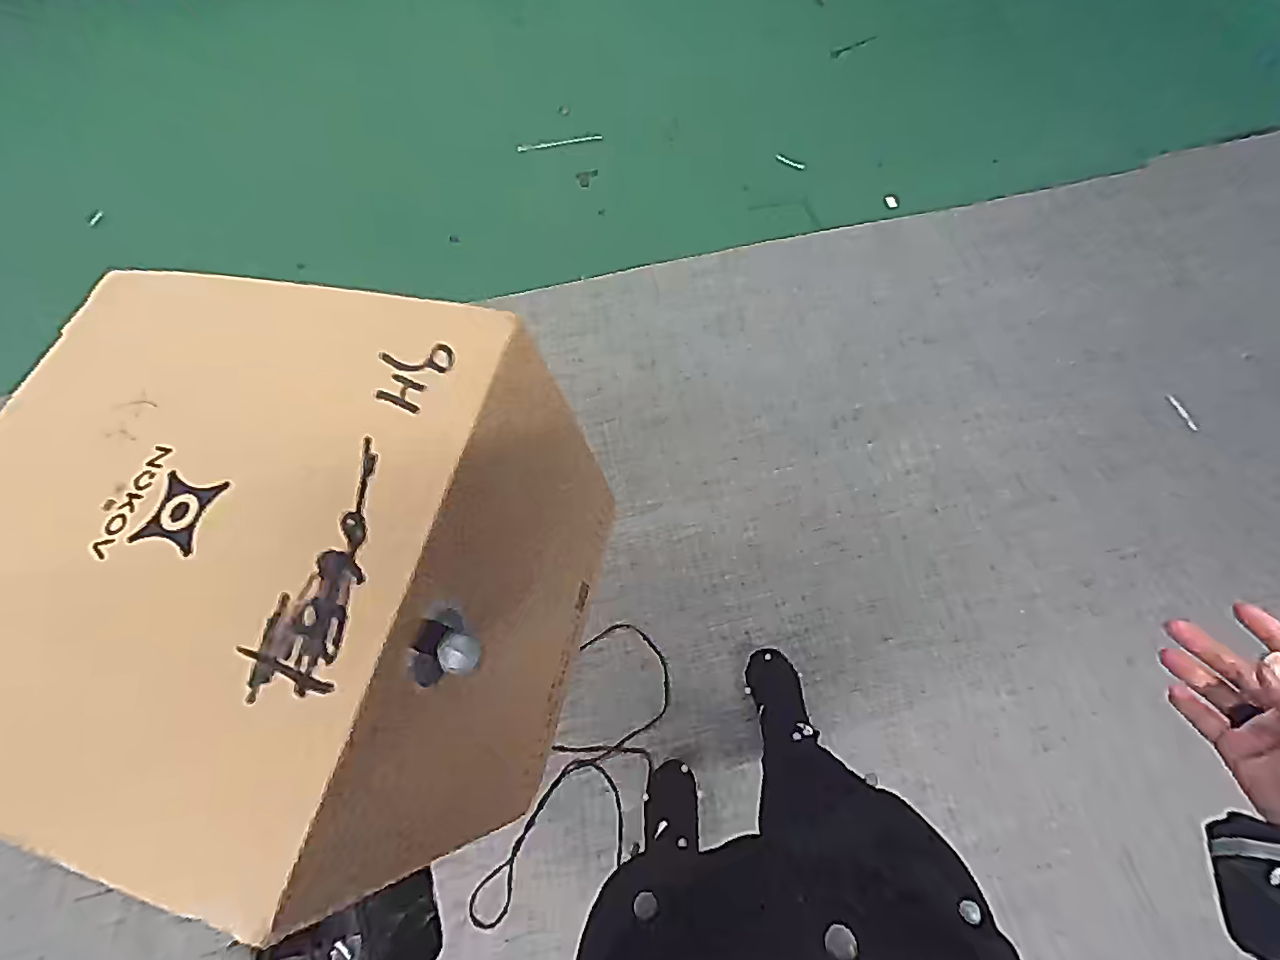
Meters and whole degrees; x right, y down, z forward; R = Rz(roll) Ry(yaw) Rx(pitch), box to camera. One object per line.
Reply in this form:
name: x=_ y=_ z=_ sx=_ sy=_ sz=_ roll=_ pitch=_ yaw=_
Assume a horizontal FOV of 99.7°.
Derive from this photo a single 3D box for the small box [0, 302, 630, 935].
small box: x=-0.118 y=0.046 z=0.239 sx=0.179 sy=0.176 sz=0.168 roll=9 pitch=69 yaw=14
